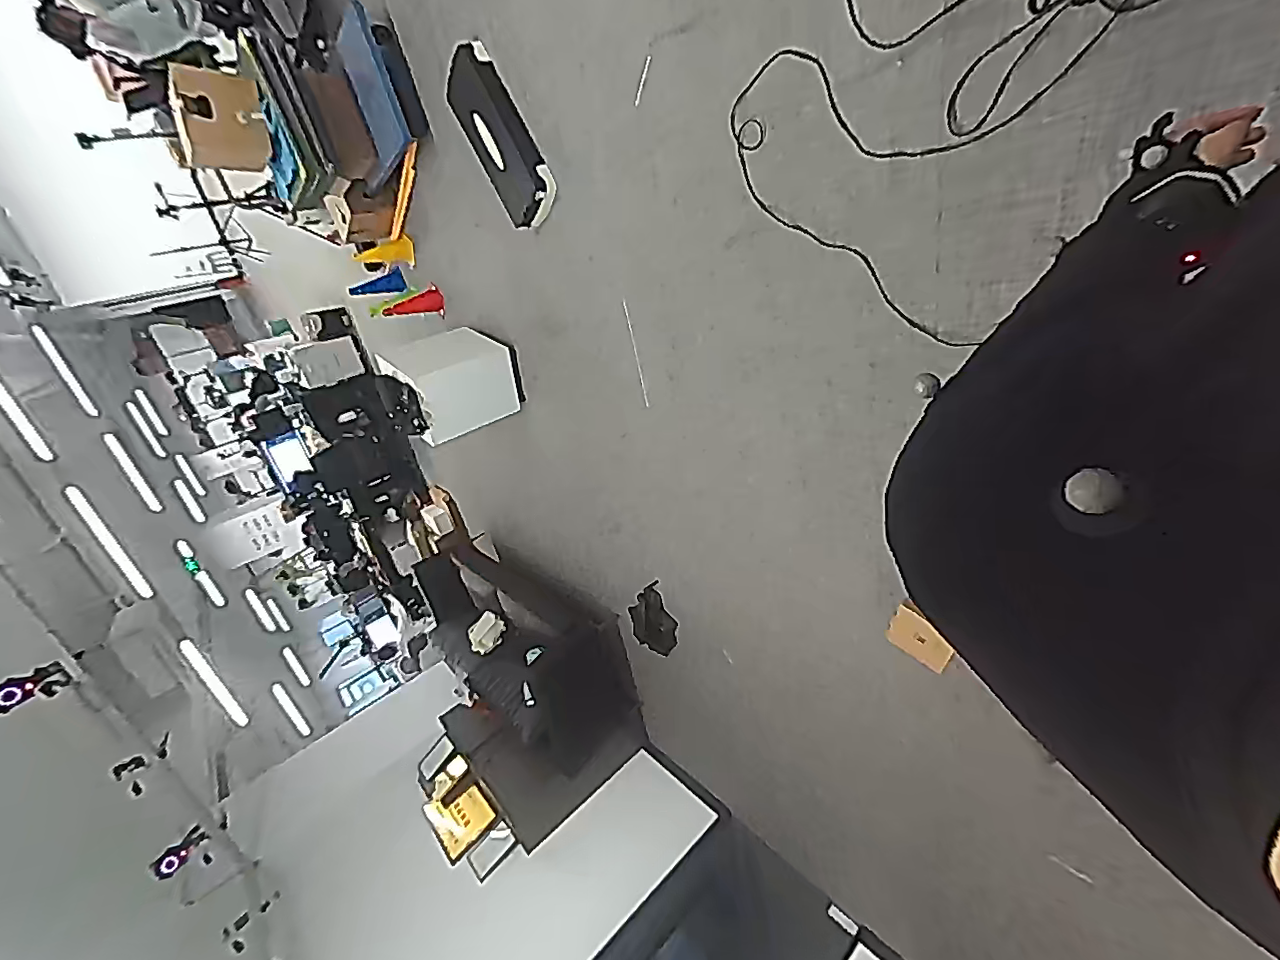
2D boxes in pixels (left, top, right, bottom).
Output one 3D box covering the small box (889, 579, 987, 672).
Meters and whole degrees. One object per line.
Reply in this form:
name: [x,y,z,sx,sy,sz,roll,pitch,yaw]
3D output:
small box: [0.874,0.417,1.590,0.179,0.176,0.168,34,140,35]
